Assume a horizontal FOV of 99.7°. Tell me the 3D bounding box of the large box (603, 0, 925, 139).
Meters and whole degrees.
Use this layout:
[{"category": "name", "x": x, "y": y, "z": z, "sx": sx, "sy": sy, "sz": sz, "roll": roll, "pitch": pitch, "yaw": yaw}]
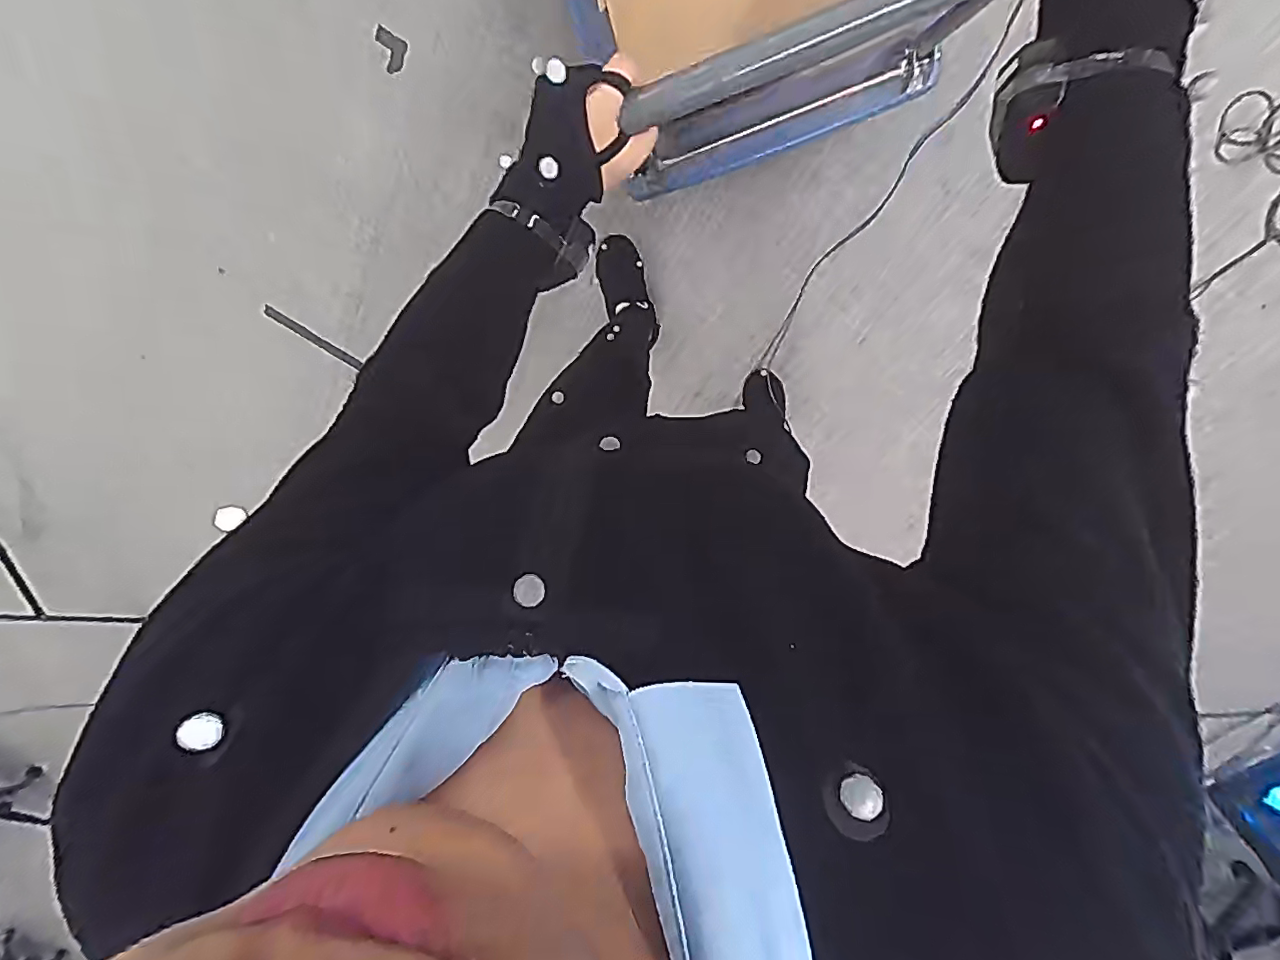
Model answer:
[{"category": "large box", "x": 0.148, "y": -0.746, "z": 0.774, "sx": 0.408, "sy": 0.320, "sz": 0.320, "roll": -14, "pitch": 116, "yaw": 14}]
